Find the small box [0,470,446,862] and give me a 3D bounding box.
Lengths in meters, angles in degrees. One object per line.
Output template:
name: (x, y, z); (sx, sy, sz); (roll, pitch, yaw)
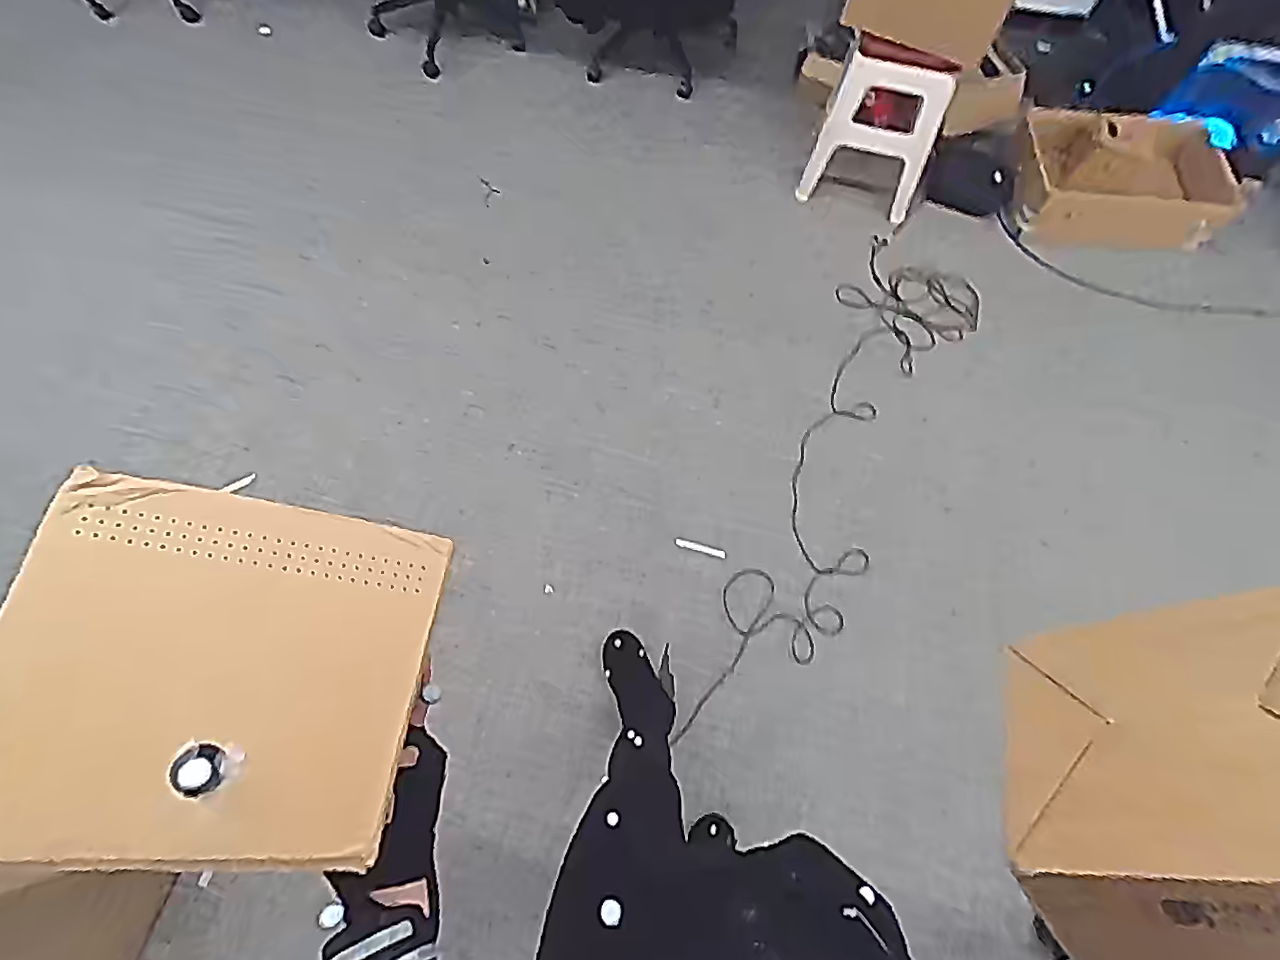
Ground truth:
small box: (-0.227, 0.103, 0.332); (0.179, 0.168, 0.176); (15, 72, -18)
